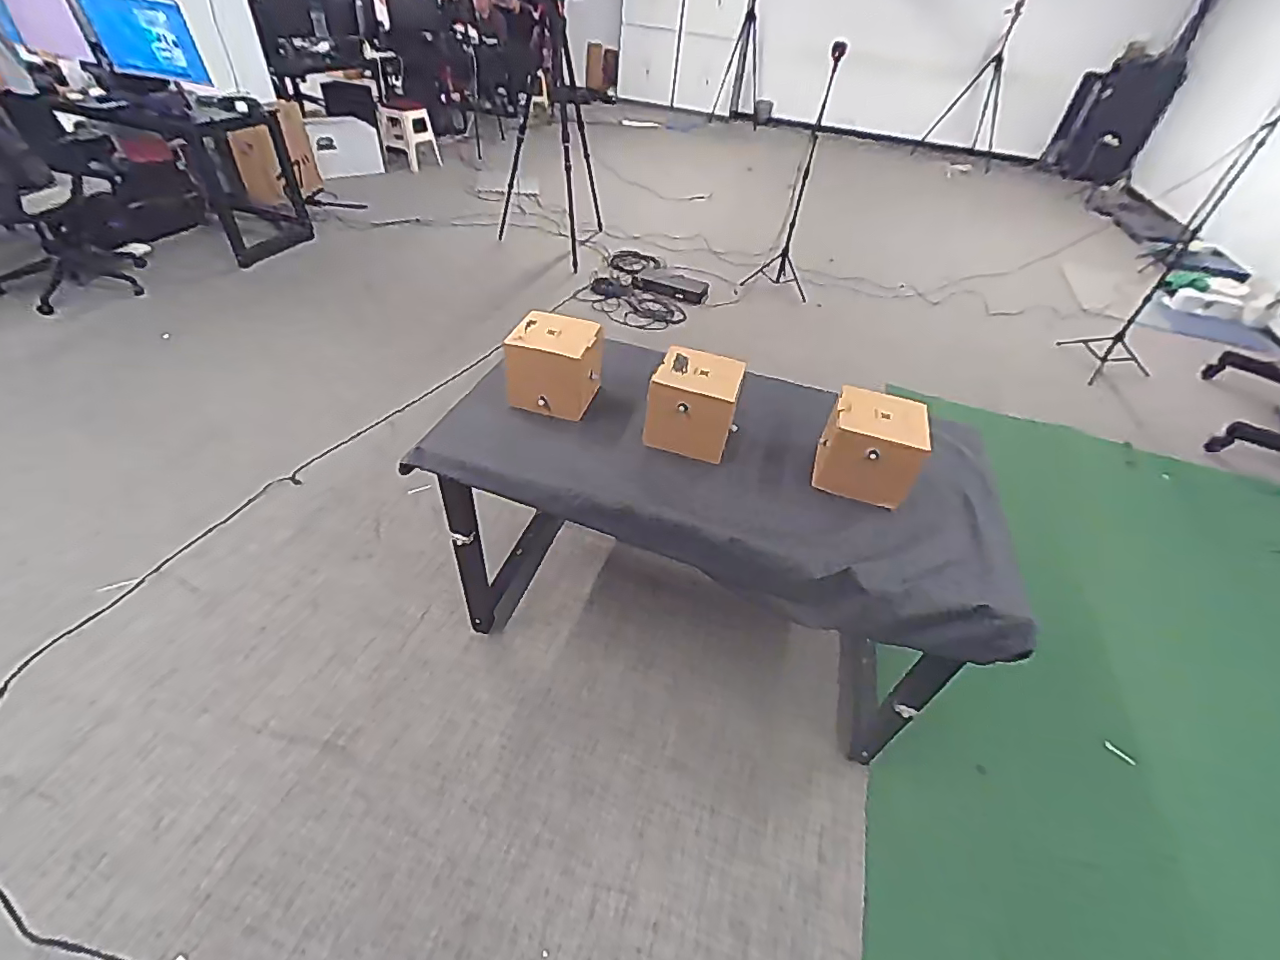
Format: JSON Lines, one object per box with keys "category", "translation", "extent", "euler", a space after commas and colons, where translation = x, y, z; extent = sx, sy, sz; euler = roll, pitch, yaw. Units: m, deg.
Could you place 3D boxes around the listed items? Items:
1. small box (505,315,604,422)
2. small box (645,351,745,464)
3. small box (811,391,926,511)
{"category": "small box", "translation": [-0.196, -0.256, 1.259], "extent": [0.179, 0.176, 0.168], "euler": [14, 43, 7]}
{"category": "small box", "translation": [0.118, -0.159, 1.197], "extent": [0.179, 0.176, 0.168], "euler": [16, 43, 9]}
{"category": "small box", "translation": [0.475, -0.060, 1.142], "extent": [0.179, 0.176, 0.168], "euler": [17, 44, 10]}
